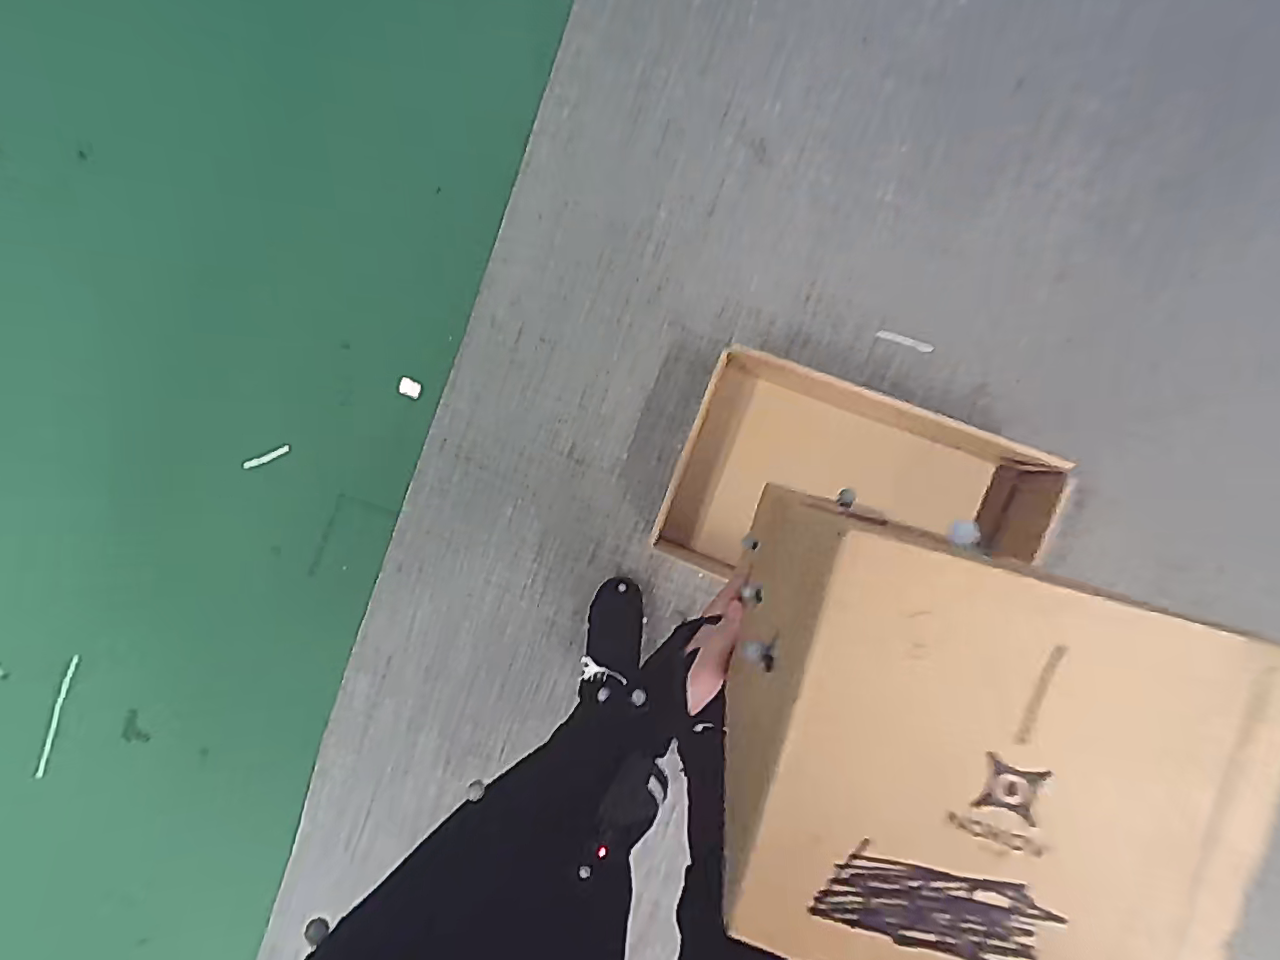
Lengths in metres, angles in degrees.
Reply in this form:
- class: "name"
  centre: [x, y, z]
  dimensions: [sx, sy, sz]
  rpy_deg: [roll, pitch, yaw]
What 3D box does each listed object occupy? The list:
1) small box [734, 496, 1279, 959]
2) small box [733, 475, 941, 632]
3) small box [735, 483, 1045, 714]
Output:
- class: "small box"
  centre: [0.154, 0.115, 0.288]
  dimensions: [0.168, 0.176, 0.179]
  rpy_deg: [16, 93, 8]
- class: "small box"
  centre: [0.206, 0.099, 0.611]
  dimensions: [0.168, 0.176, 0.179]
  rpy_deg: [18, 94, 7]
- class: "small box"
  centre: [0.180, 0.106, 0.449]
  dimensions: [0.168, 0.176, 0.179]
  rpy_deg: [18, 95, 8]
